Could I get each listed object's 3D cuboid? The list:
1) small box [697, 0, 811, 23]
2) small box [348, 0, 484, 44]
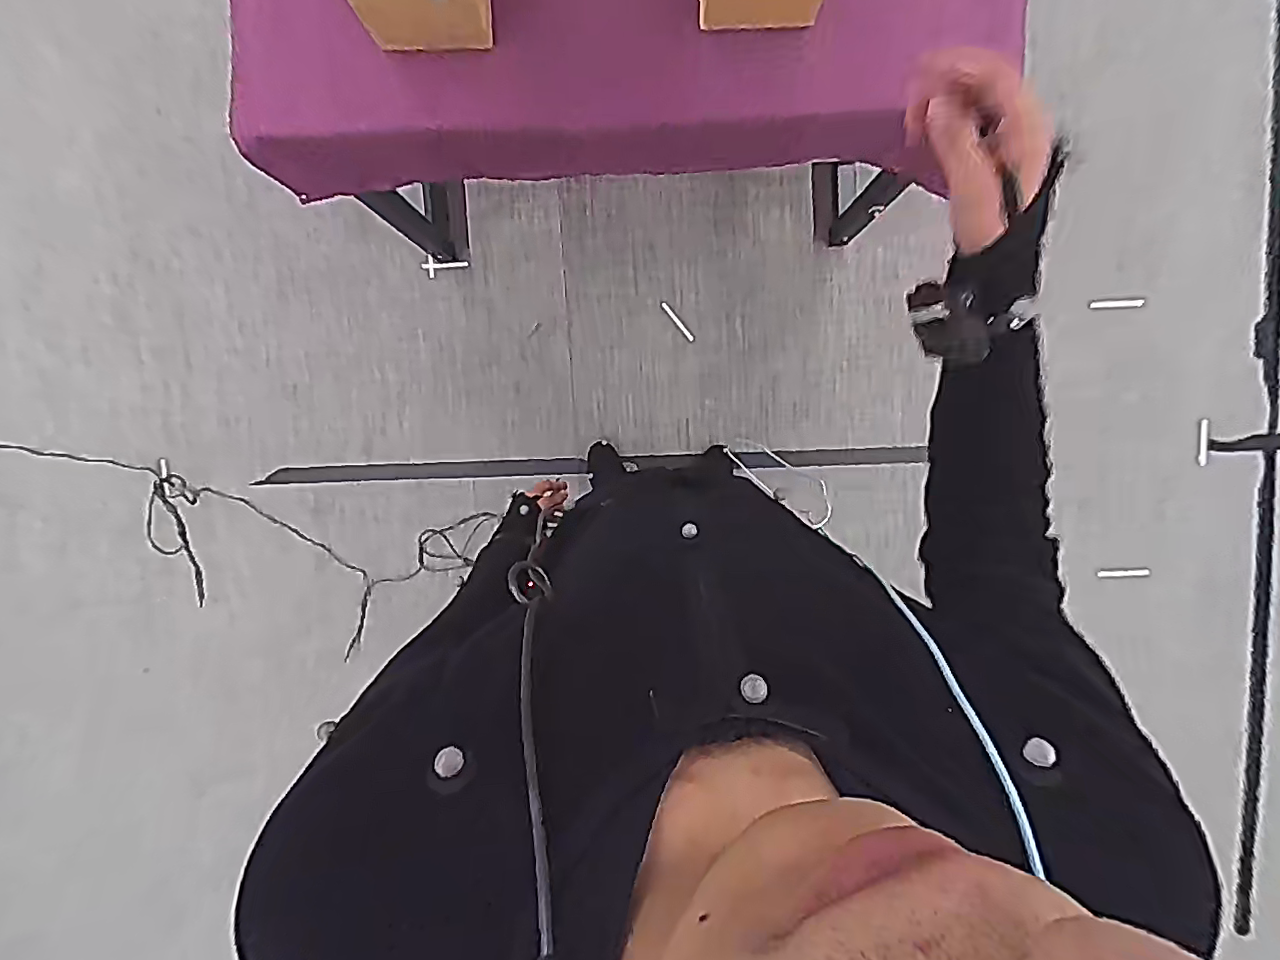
[{"bbox_3d":[0.169,-0.769,0.737,0.179,0.176,0.168,-1,95,0],"label":"small box"},{"bbox_3d":[-0.319,-0.742,0.743,0.179,0.176,0.168,-1,95,0],"label":"small box"}]
